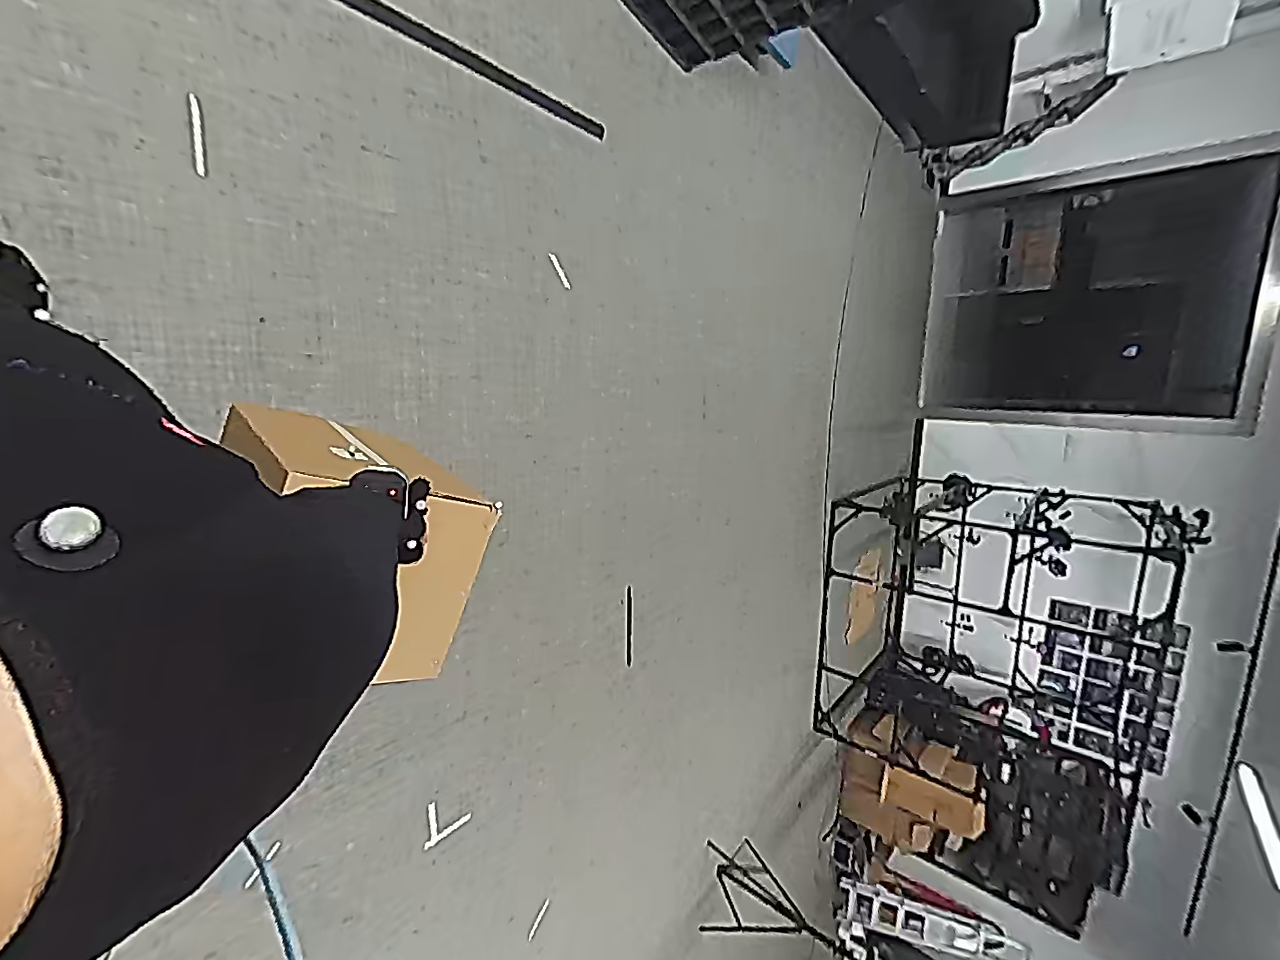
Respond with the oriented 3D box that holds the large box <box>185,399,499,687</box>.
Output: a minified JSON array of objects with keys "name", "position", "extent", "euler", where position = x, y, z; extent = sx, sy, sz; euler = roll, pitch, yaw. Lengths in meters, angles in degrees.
[{"name":"large box","position":[-0.521,0.094,0.928],"extent":[0.320,0.408,0.320],"euler":[15,98,-48]}]
